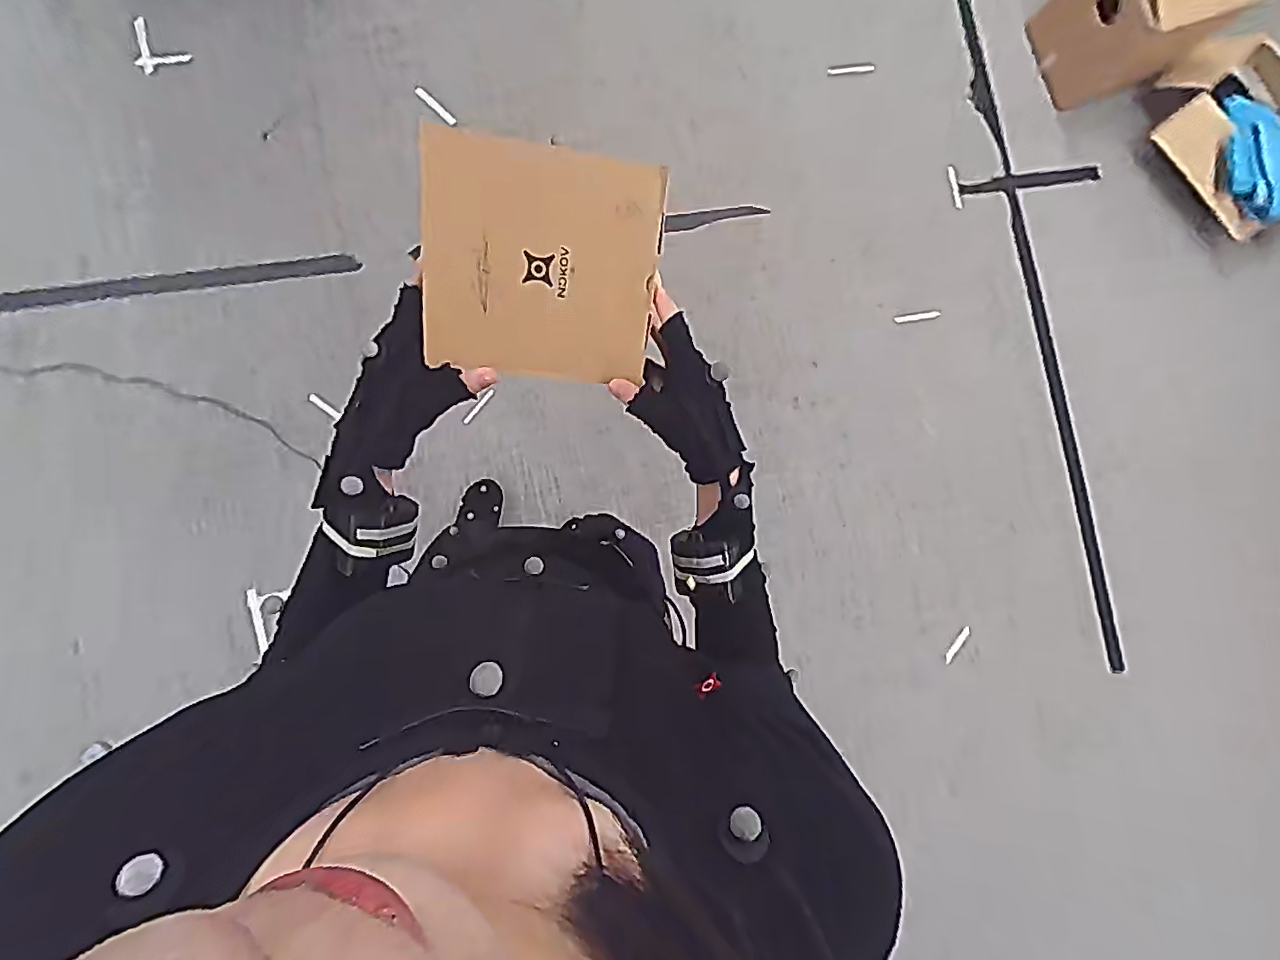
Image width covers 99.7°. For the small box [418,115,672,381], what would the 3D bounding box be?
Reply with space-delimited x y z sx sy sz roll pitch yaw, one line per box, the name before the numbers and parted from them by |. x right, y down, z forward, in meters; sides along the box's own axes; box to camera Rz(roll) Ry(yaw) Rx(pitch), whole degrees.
small box | -0.082 -0.190 0.472 0.179 0.176 0.168 3 110 -10
